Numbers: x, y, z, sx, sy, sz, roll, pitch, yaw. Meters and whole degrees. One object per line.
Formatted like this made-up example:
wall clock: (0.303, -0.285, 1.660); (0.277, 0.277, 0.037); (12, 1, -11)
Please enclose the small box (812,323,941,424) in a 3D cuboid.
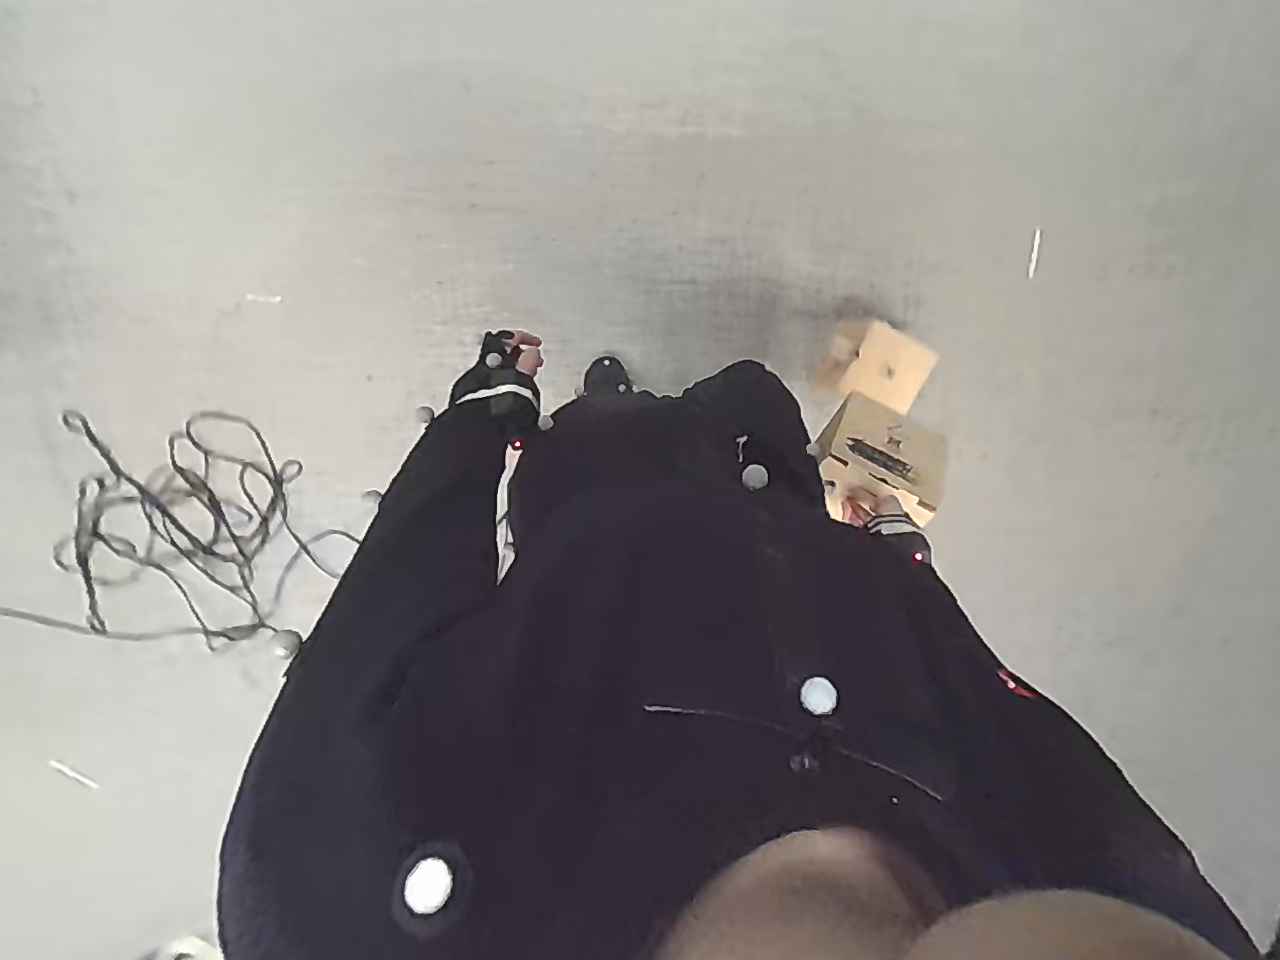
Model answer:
small box: (0.532, -0.249, 1.240); (0.179, 0.176, 0.168); (24, 102, -10)
